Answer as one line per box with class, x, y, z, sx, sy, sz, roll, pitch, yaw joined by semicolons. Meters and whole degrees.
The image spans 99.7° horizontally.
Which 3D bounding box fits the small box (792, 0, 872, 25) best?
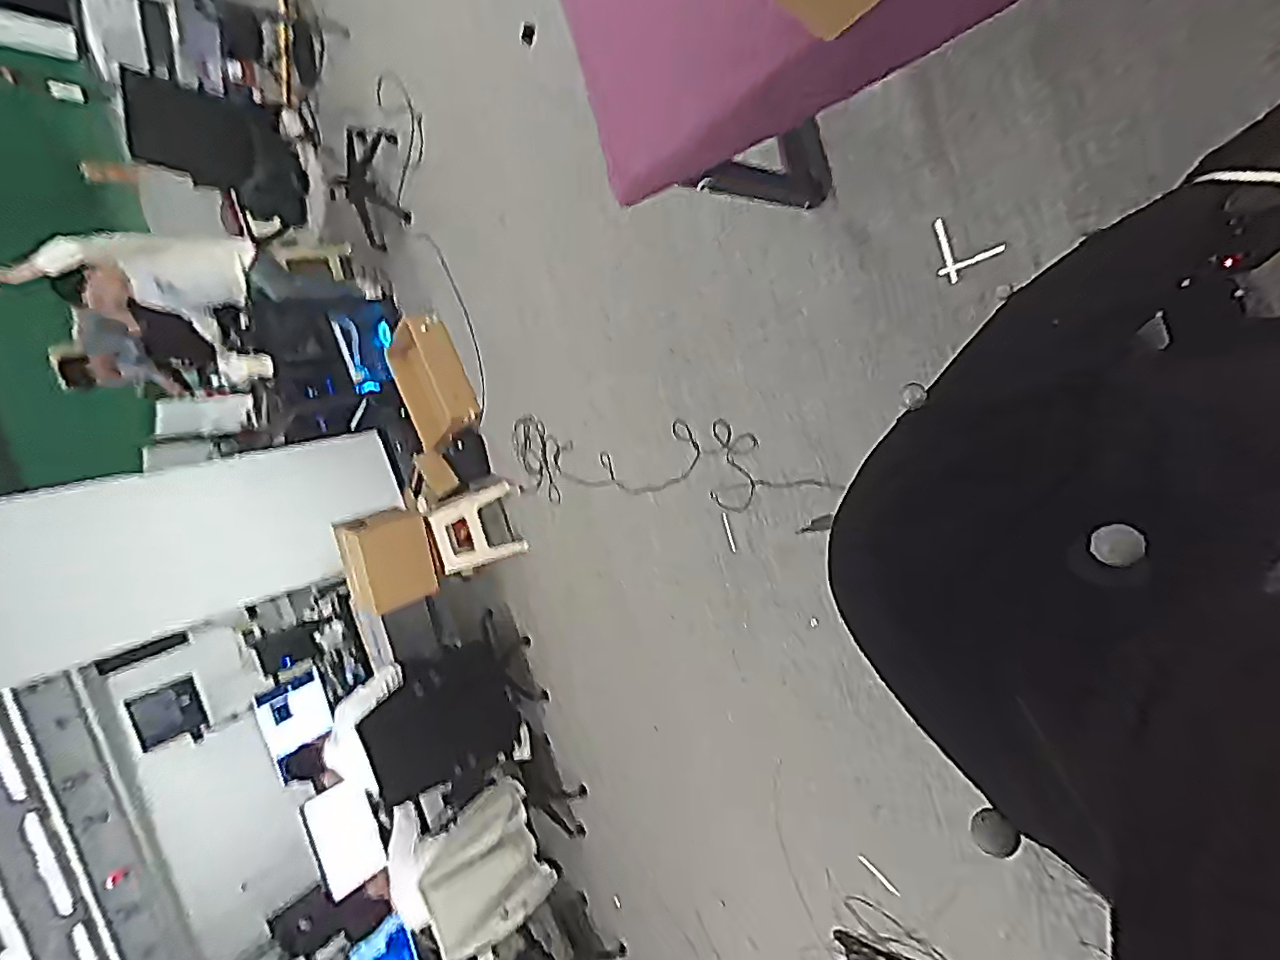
small box;0.228;-0.642;0.567;0.179;0.176;0.168;-14;94;48
